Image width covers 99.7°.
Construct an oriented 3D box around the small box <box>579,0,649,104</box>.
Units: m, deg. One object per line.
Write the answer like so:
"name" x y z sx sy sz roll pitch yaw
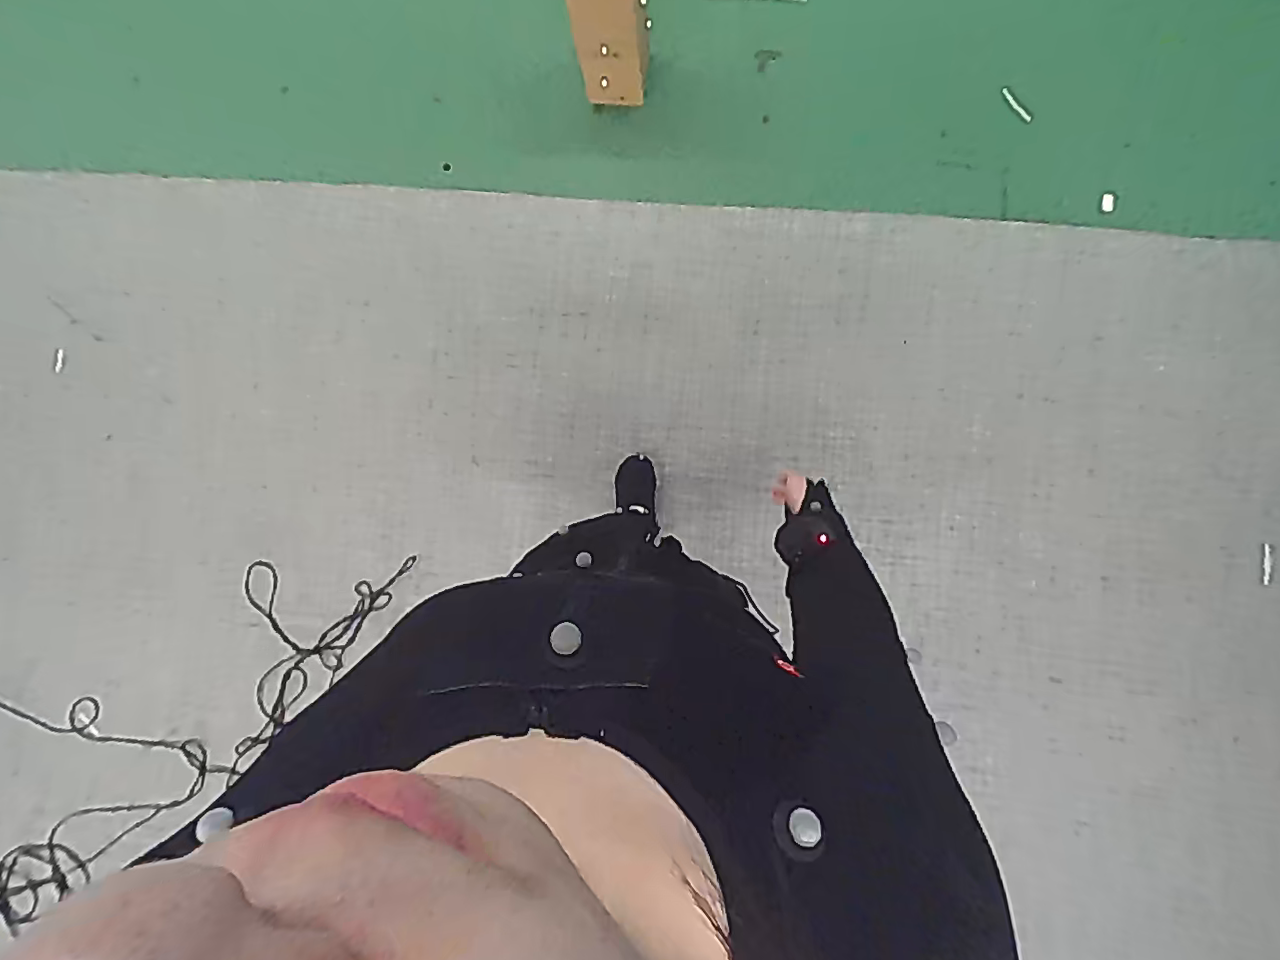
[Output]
"small box" -0.066 -1.198 1.519 0.168 0.176 0.179 6 86 5
